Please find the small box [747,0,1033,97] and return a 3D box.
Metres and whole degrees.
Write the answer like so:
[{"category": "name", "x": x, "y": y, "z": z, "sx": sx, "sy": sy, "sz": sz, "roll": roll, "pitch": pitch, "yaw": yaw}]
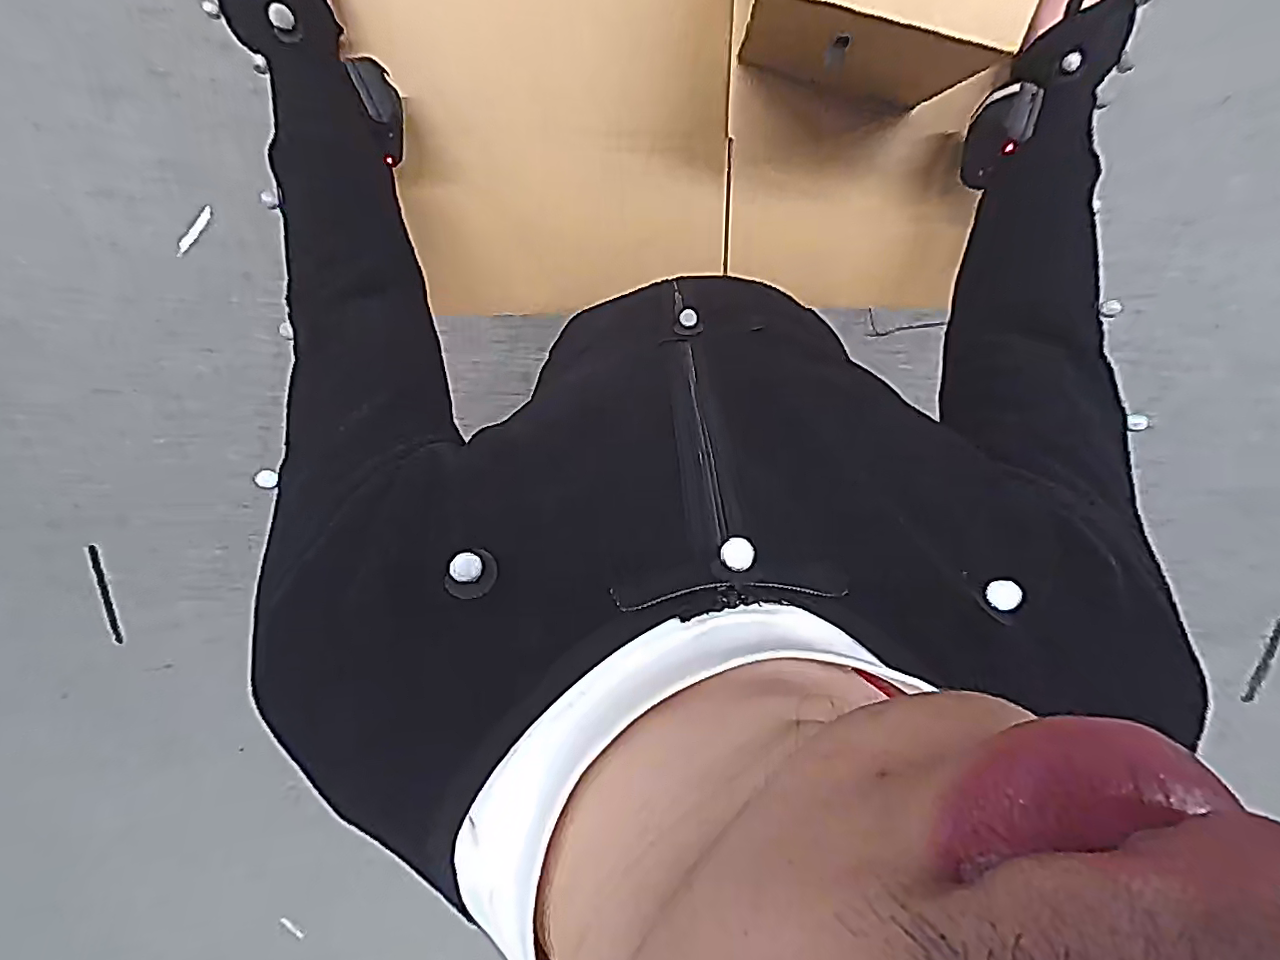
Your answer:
[{"category": "small box", "x": 0.187, "y": -0.408, "z": 0.394, "sx": 0.179, "sy": 0.176, "sz": 0.168, "roll": 14, "pitch": 115, "yaw": -1}]
